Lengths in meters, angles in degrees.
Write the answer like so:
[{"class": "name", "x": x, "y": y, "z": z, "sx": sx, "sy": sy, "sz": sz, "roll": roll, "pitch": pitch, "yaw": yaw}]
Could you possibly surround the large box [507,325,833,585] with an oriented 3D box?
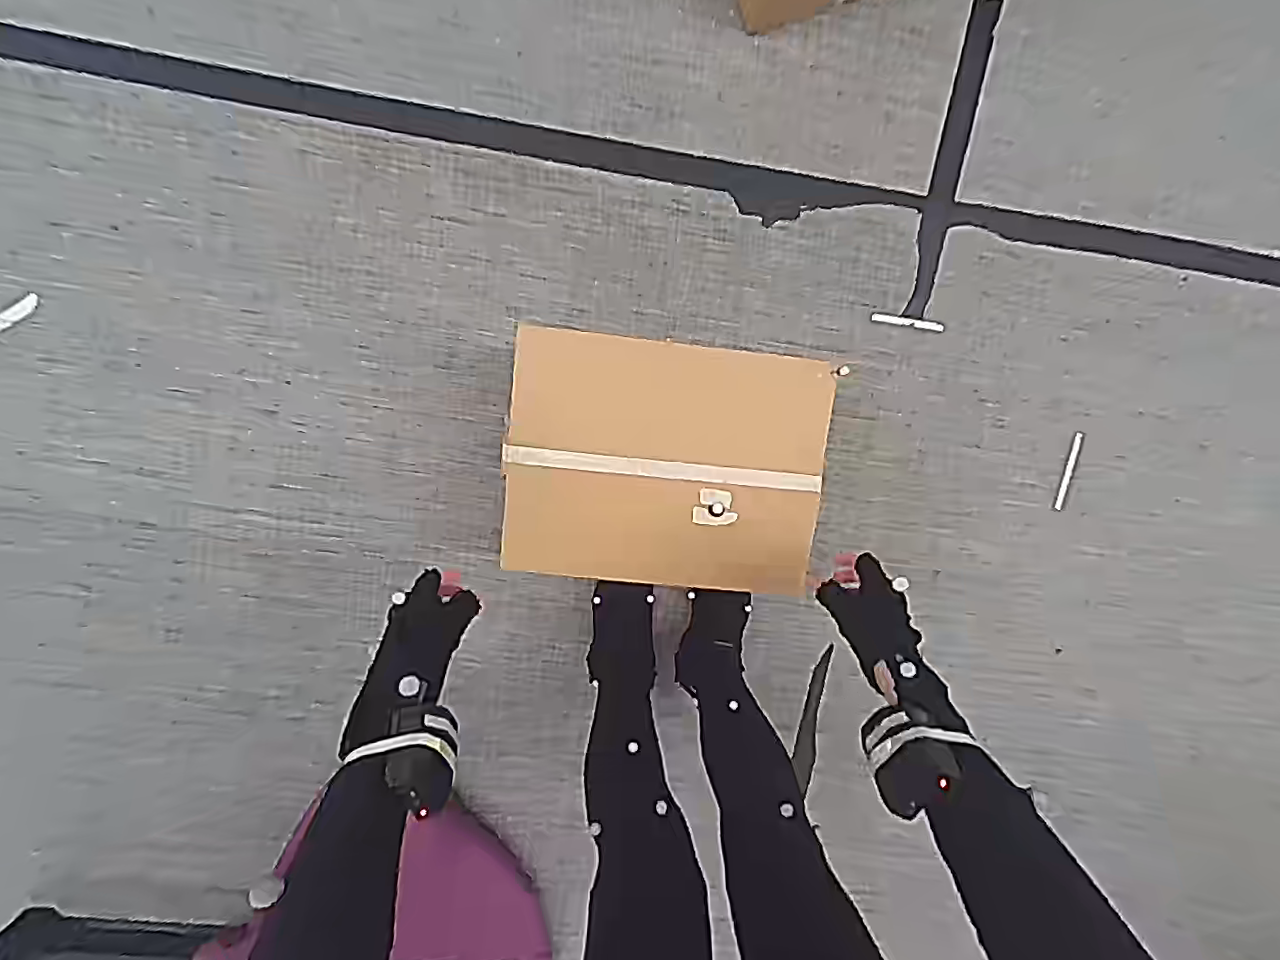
[{"class": "large box", "x": 0.024, "y": -0.044, "z": 0.837, "sx": 0.408, "sy": 0.320, "sz": 0.320, "roll": 5, "pitch": 99, "yaw": -5}]
